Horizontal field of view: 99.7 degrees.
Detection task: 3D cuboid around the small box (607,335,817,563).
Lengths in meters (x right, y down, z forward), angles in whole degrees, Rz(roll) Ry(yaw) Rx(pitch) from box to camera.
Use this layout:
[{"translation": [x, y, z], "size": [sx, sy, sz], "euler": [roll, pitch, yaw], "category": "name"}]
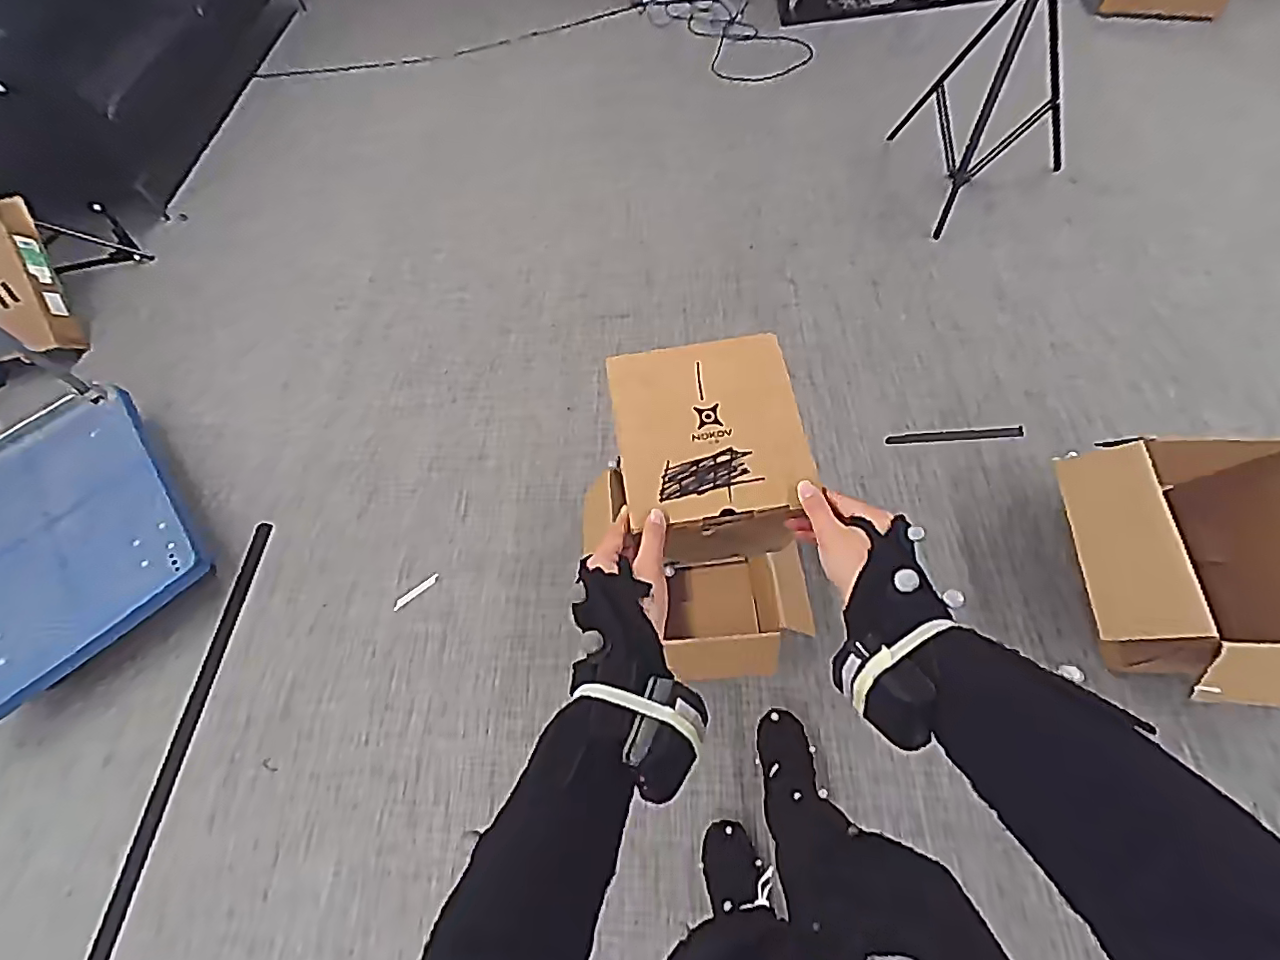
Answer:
[{"translation": [0.064, -0.019, 0.562], "size": [0.168, 0.176, 0.179], "euler": [-9, 67, -1], "category": "small box"}]
